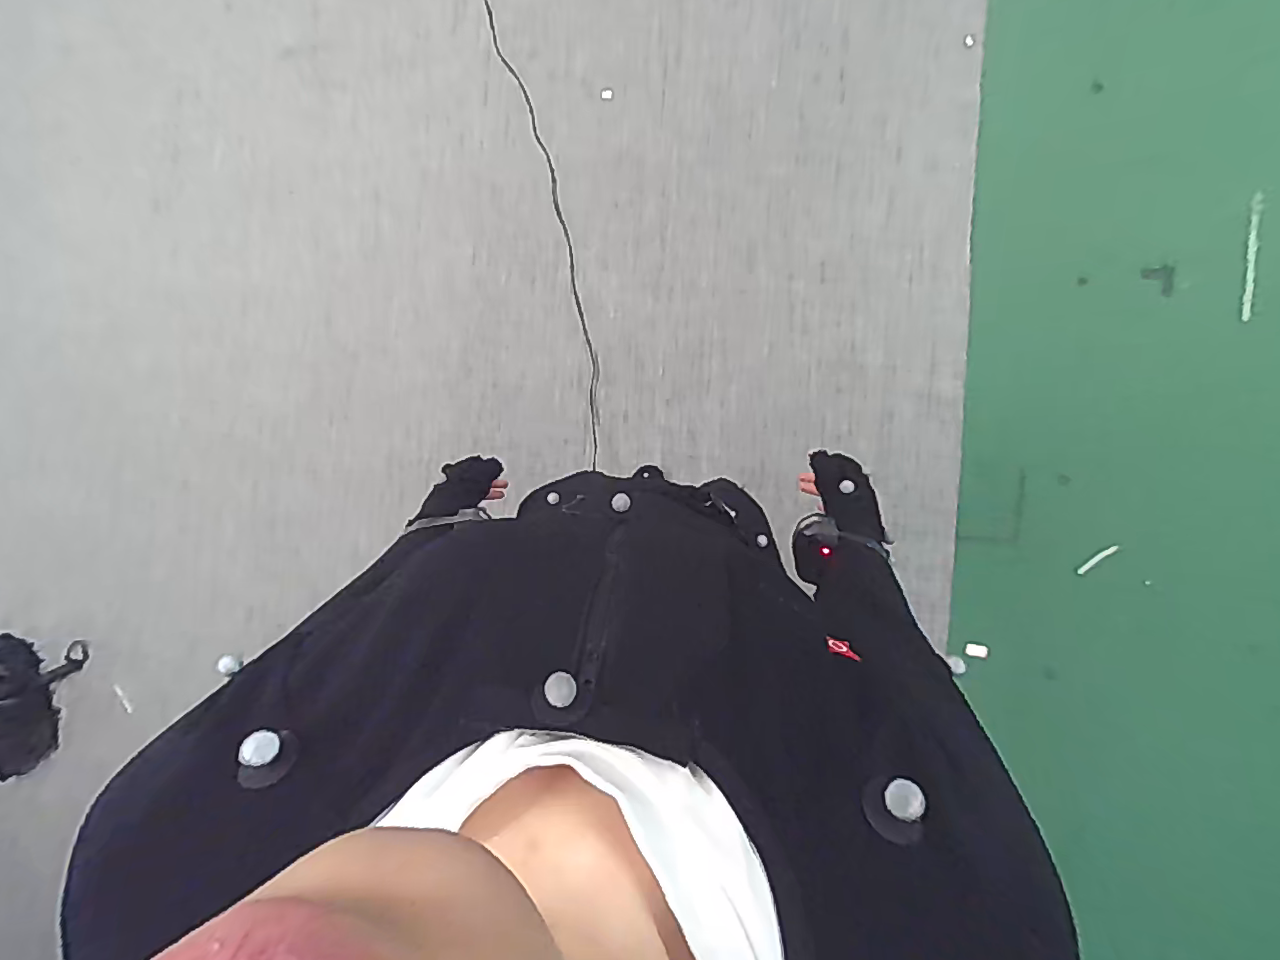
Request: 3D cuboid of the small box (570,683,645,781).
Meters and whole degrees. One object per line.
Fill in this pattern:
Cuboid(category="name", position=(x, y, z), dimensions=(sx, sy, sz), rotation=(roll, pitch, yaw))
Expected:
Cuboid(category="small box", position=(-0.087, 0.635, 1.385), dimensions=(0.179, 0.176, 0.168), rotation=(6, 89, 5))

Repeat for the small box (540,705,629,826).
Cuboid(category="small box", position=(-0.118, 0.638, 1.226), dimensions=(0.168, 0.176, 0.179), rotation=(5, 88, 4))
